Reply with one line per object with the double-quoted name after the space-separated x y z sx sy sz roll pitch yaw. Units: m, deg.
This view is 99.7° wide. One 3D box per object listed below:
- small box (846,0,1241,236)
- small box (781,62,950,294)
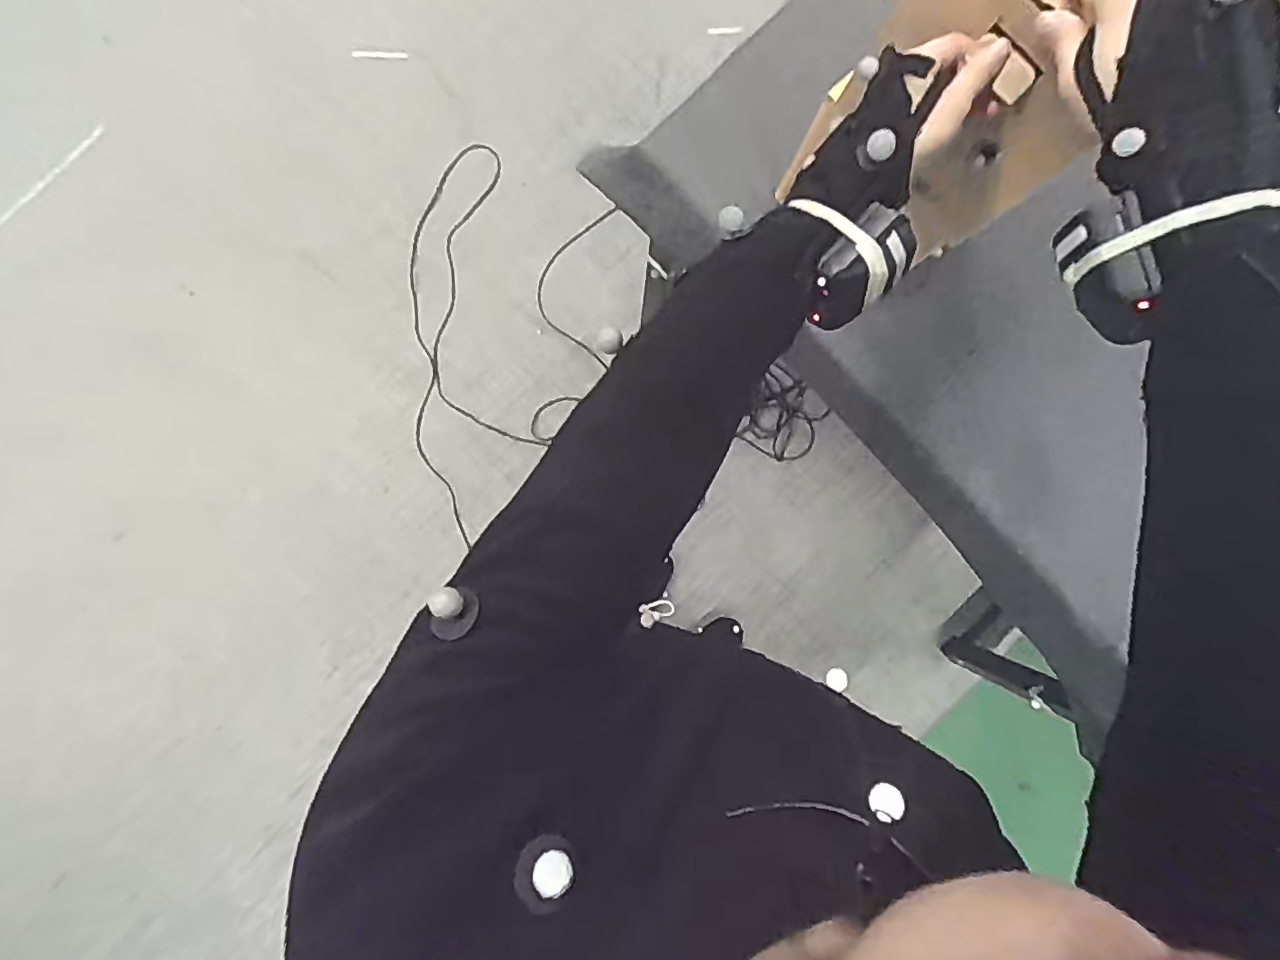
0.287 -0.329 0.411 0.168 0.176 0.179 43 86 -3 "small box"
0.279 -0.334 0.573 0.168 0.176 0.179 -41 91 -3 "small box"
